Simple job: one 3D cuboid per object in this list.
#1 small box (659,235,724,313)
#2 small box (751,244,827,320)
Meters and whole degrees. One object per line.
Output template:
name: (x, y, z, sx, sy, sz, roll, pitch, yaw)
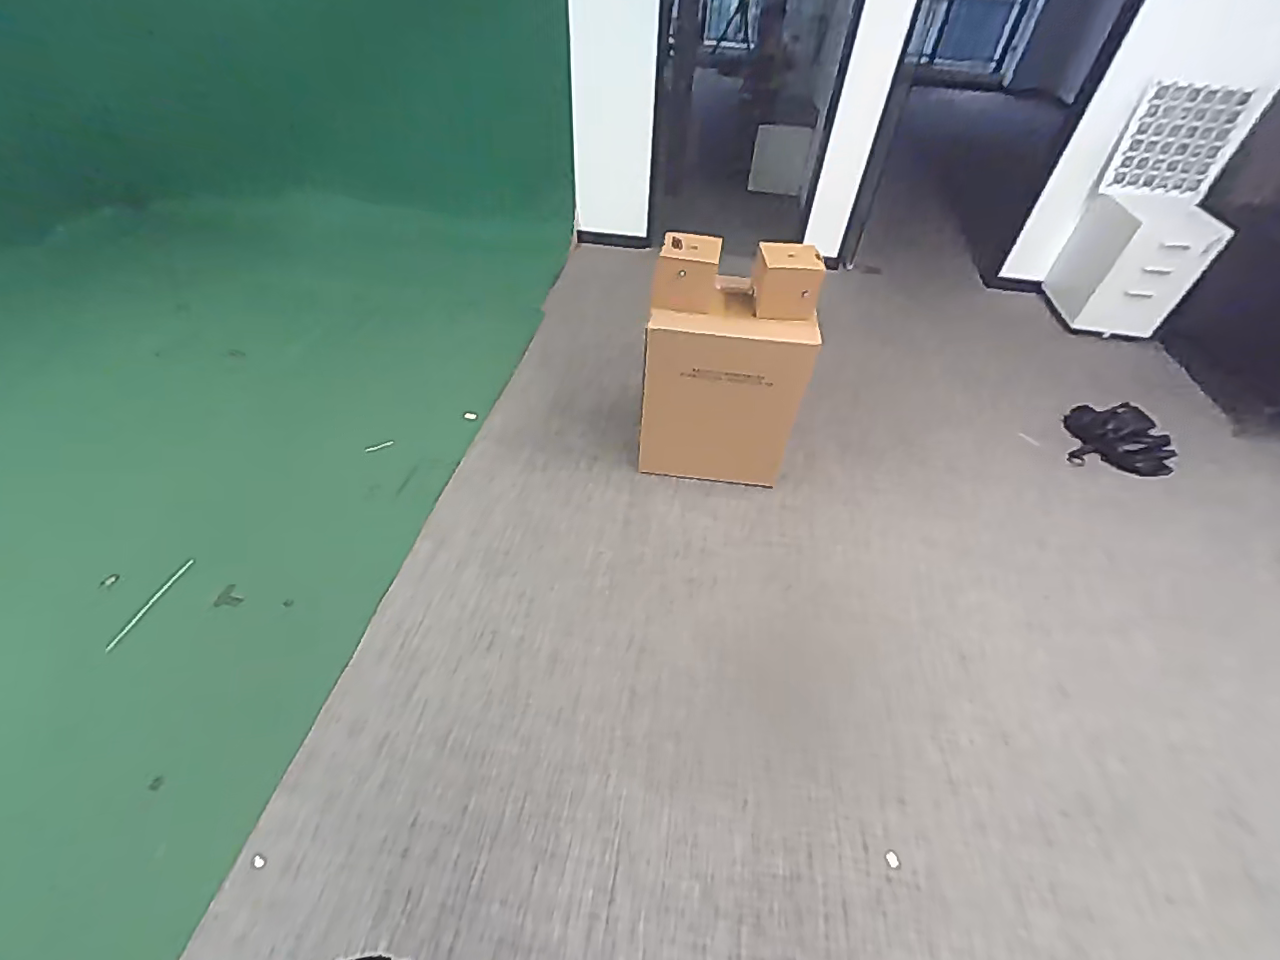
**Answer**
small box: (0.158, -0.644, 1.691, 0.179, 0.176, 0.168, 9, 49, 5)
small box: (0.455, -0.613, 1.680, 0.179, 0.176, 0.168, 0, 47, -1)
